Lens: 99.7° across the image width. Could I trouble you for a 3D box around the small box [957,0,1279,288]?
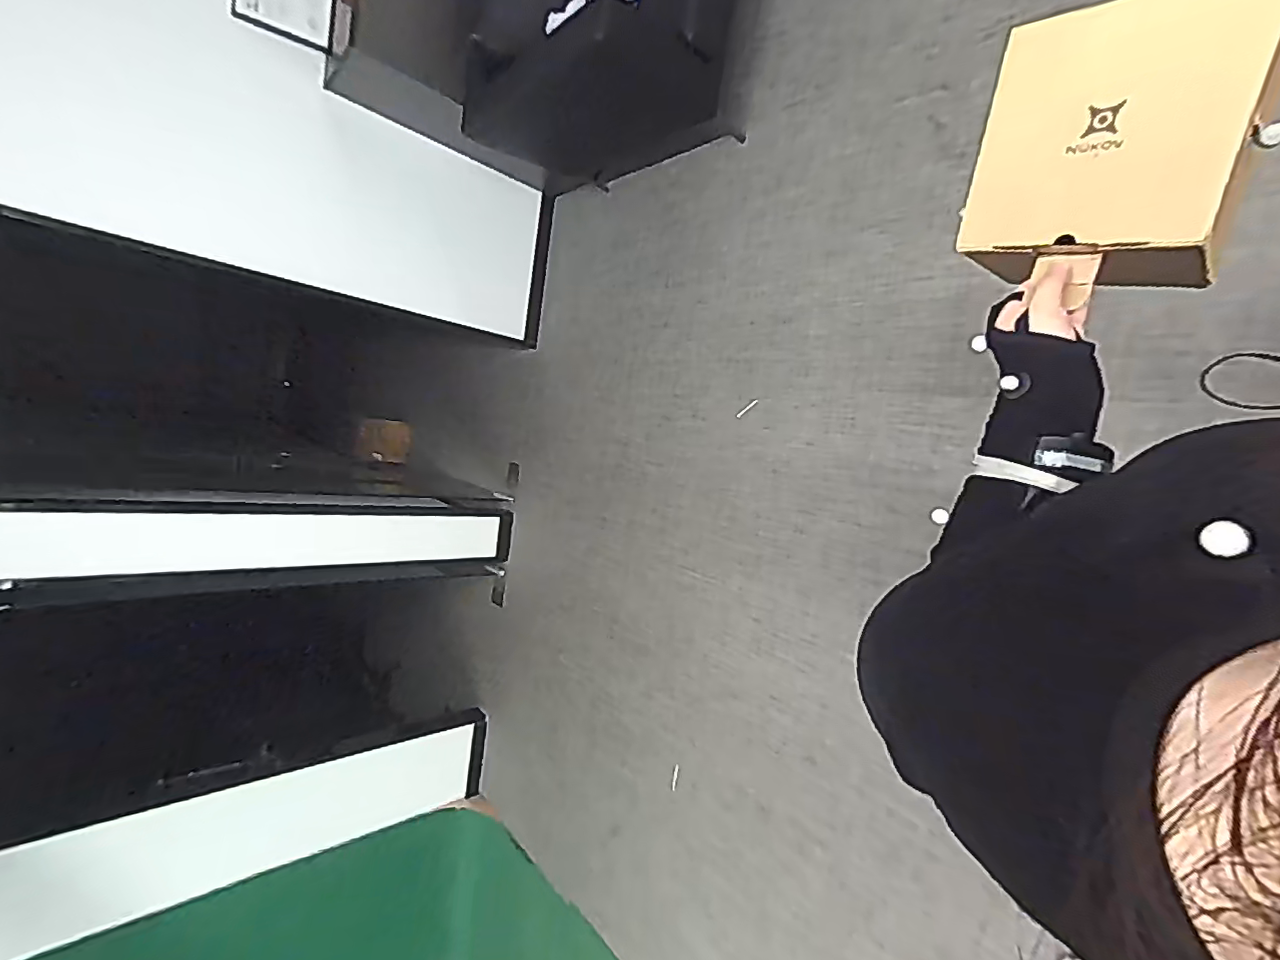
[{"bbox_3d":[0.412,-0.275,0.472,0.168,0.176,0.179,22,111,43],"label":"small box"}]
